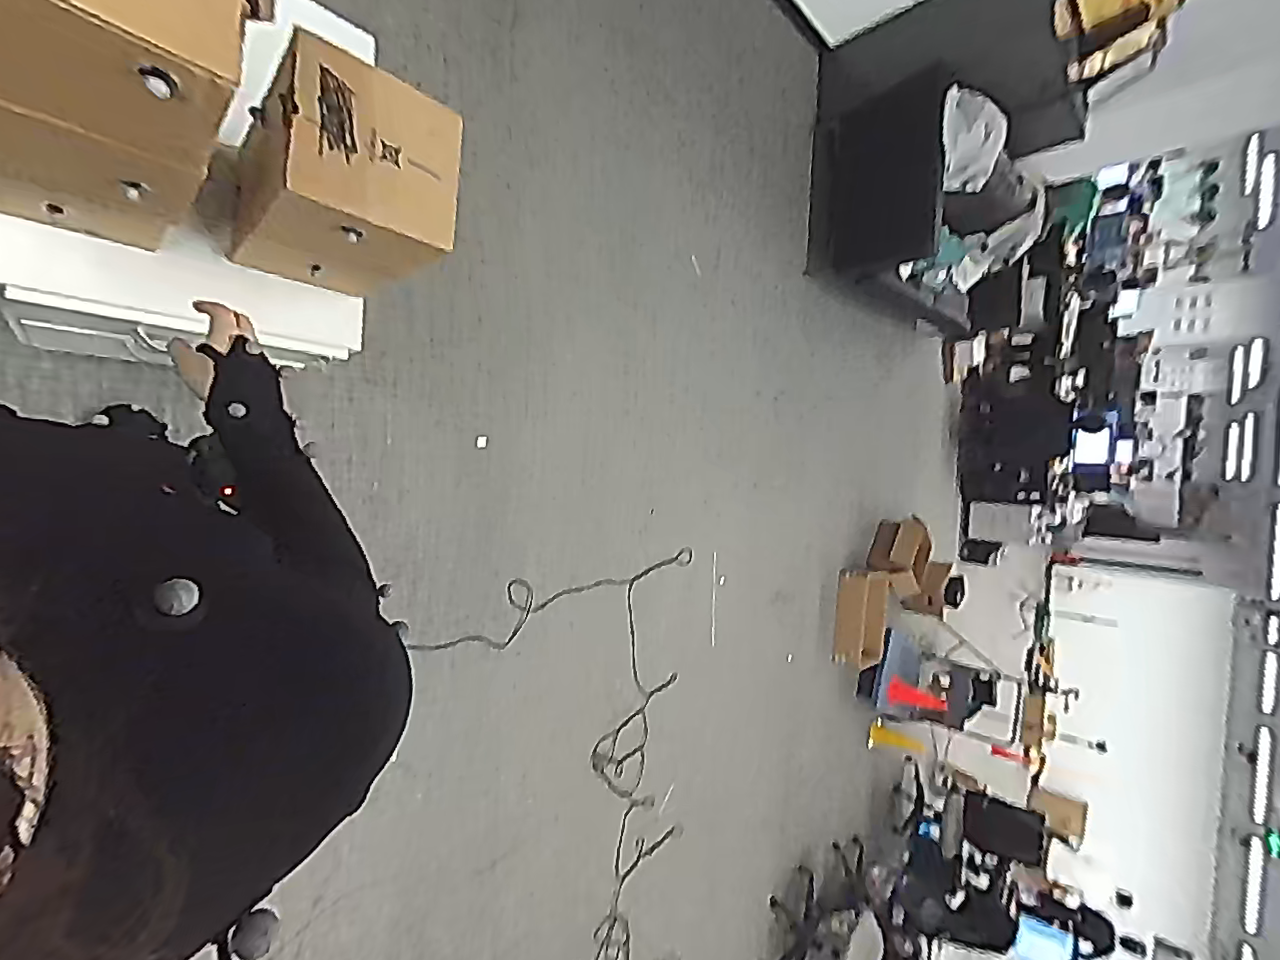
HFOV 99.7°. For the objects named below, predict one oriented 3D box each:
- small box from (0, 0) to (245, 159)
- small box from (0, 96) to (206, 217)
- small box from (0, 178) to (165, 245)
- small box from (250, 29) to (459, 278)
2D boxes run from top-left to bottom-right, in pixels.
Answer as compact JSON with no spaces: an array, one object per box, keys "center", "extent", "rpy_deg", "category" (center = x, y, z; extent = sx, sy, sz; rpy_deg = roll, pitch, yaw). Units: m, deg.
[{"center":[-0.384,-0.353,0.358],"extent":[0.179,0.176,0.168],"rpy_deg":[5,88,-48],"category":"small box"},{"center":[-0.503,-0.354,0.470],"extent":[0.179,0.176,0.168],"rpy_deg":[1,90,-47],"category":"small box"},{"center":[-0.620,-0.377,0.580],"extent":[0.168,0.176,0.179],"rpy_deg":[3,90,-48],"category":"small box"},{"center":[-0.339,-0.358,0.640],"extent":[0.179,0.176,0.168],"rpy_deg":[5,89,-46],"category":"small box"}]
